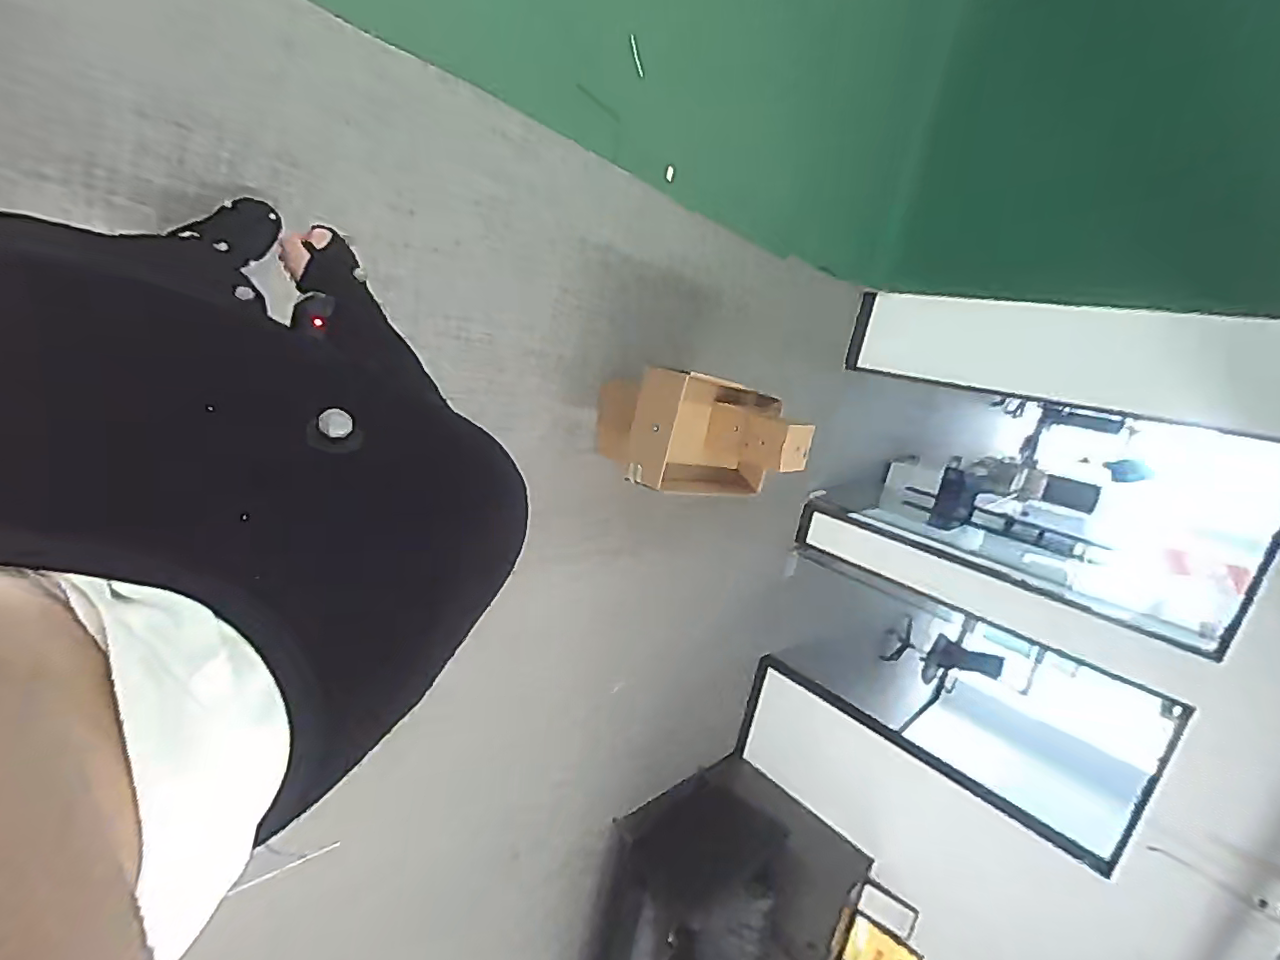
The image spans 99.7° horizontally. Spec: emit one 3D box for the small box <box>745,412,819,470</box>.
[{"bbox_3d":[0.492,-0.139,1.890,0.179,0.176,0.168,-4,112,-43],"label":"small box"}]
